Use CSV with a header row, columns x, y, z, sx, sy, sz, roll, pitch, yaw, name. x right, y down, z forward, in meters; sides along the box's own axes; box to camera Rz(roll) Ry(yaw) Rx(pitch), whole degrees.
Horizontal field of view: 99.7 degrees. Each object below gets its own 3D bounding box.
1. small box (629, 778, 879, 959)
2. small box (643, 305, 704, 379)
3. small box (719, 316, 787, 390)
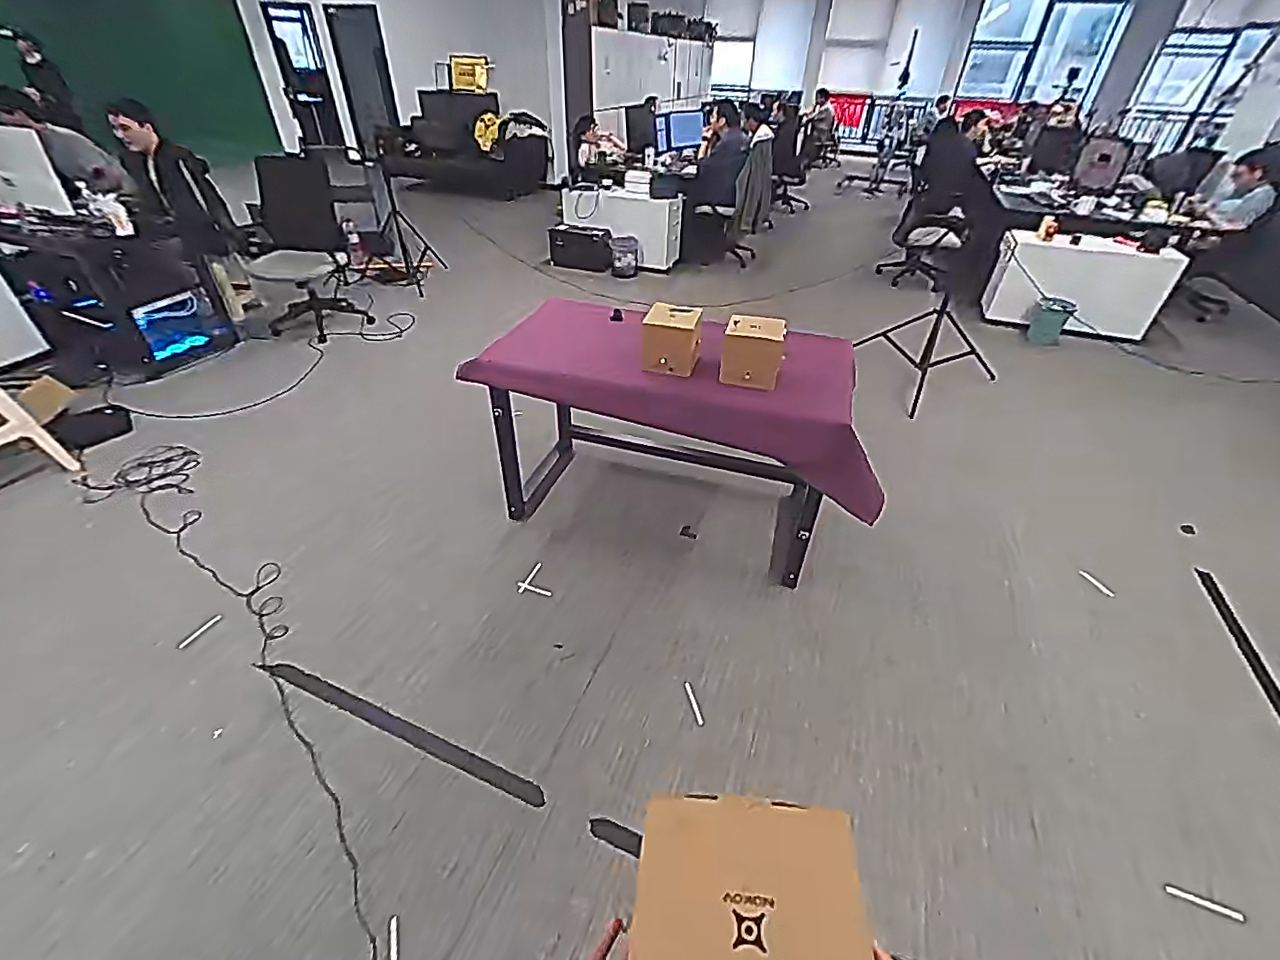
x,y,z,sx,sy,sz,roll,pitch,yaw,name
0.082,0.371,0.419,0.168,0.176,0.179,1,32,9,small box
0.107,-0.454,1.775,0.168,0.176,0.179,10,39,11,small box
0.359,-0.400,1.717,0.179,0.176,0.168,11,38,11,small box
